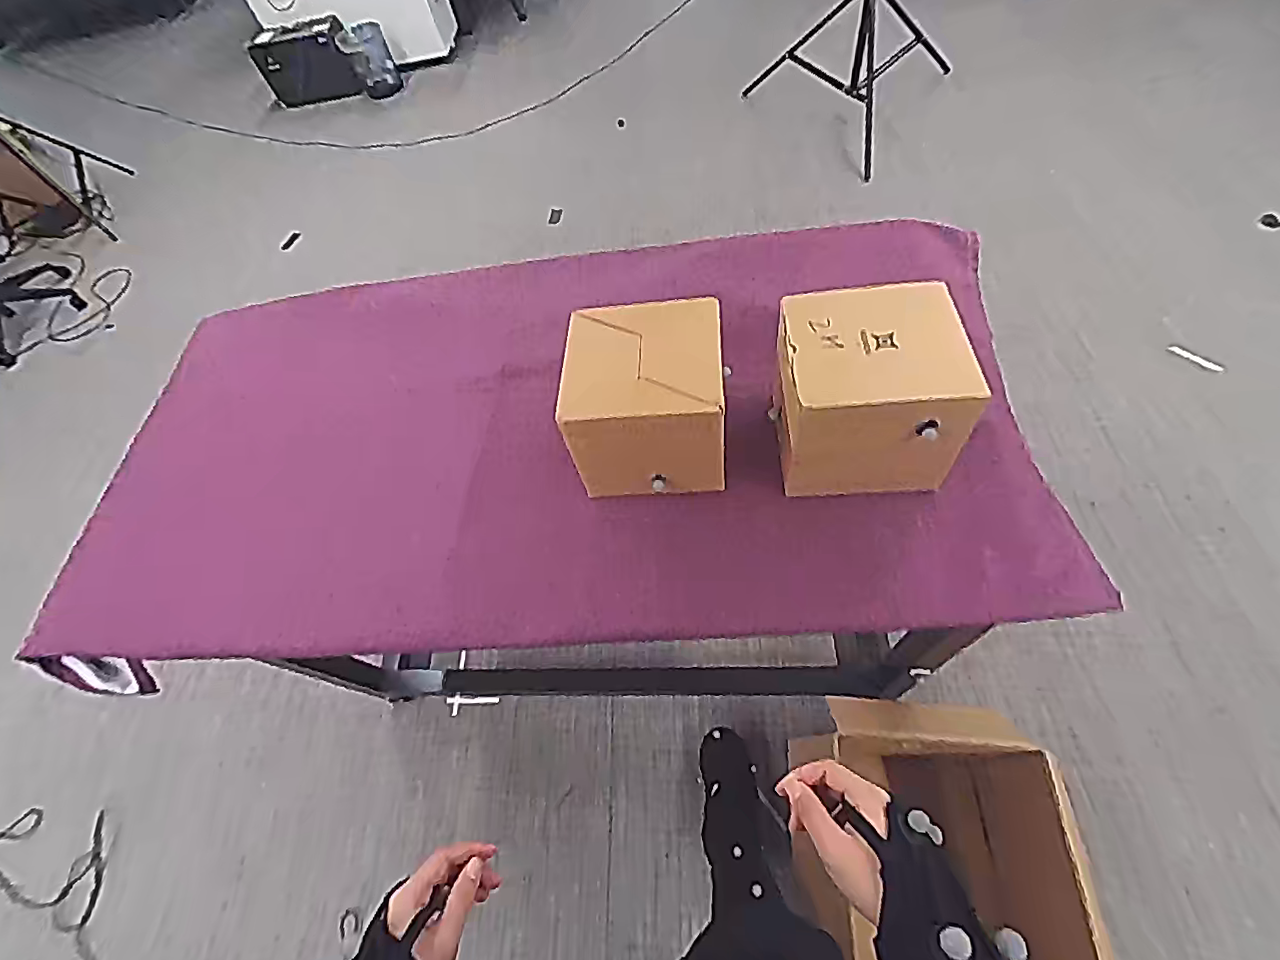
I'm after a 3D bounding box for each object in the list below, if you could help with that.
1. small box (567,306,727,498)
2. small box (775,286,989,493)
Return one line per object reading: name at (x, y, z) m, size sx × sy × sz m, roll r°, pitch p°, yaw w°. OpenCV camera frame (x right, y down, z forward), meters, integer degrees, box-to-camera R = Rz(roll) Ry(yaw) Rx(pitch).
small box at (0.014, -0.093, 0.665) m, size 0.179 × 0.176 × 0.168 m, roll -3°, pitch 57°, yaw 9°
small box at (0.257, -0.096, 0.625) m, size 0.179 × 0.176 × 0.168 m, roll -3°, pitch 56°, yaw 8°
